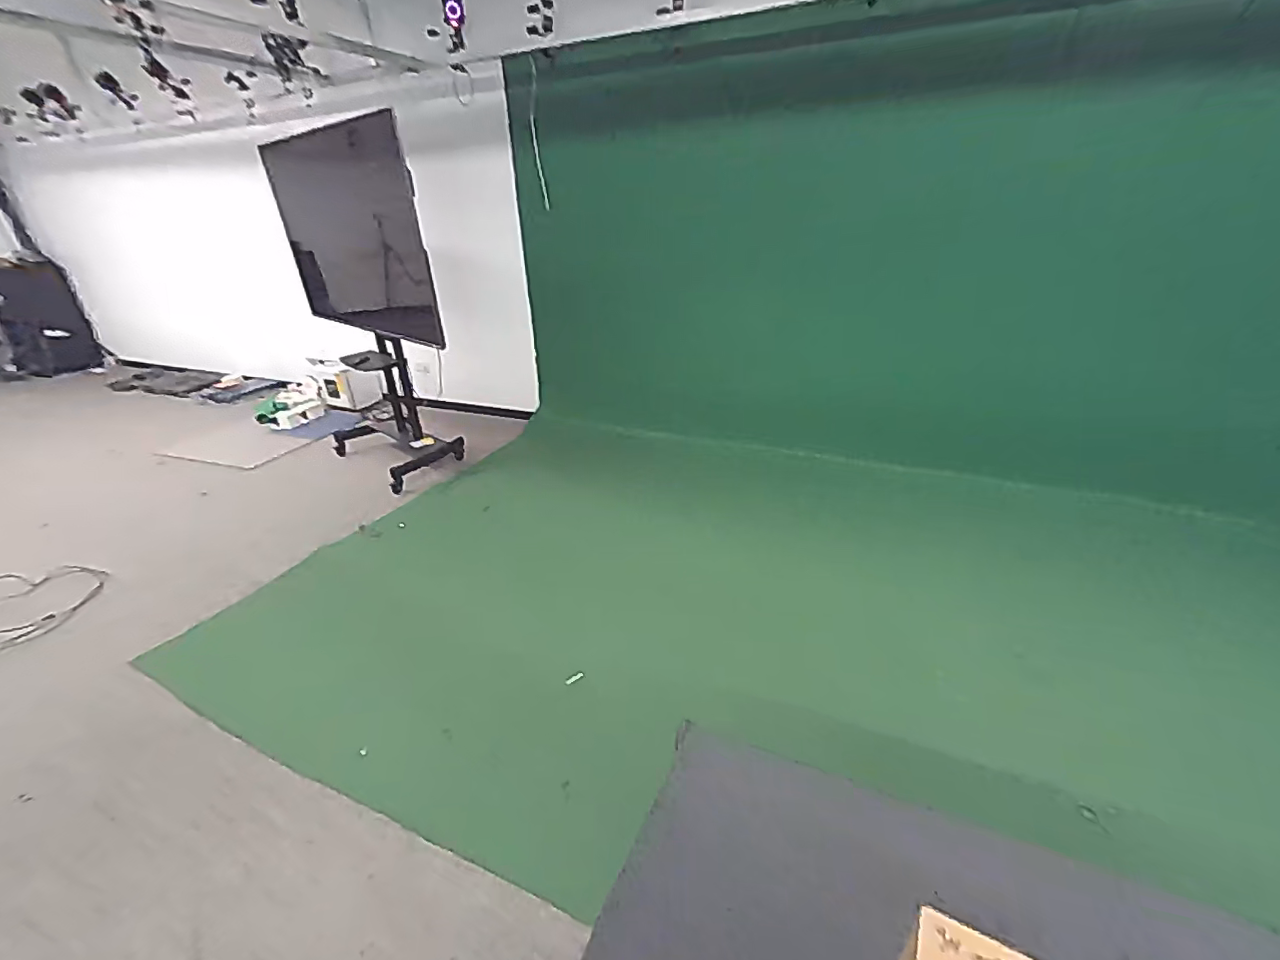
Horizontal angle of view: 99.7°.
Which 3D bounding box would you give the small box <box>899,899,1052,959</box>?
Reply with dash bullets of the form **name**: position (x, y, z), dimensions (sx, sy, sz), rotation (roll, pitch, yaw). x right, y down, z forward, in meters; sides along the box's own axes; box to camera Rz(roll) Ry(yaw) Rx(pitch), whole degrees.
- **small box**: position (0.361, 0.615, 0.571), dimensions (0.168, 0.176, 0.179), rotation (10, 29, 26)
